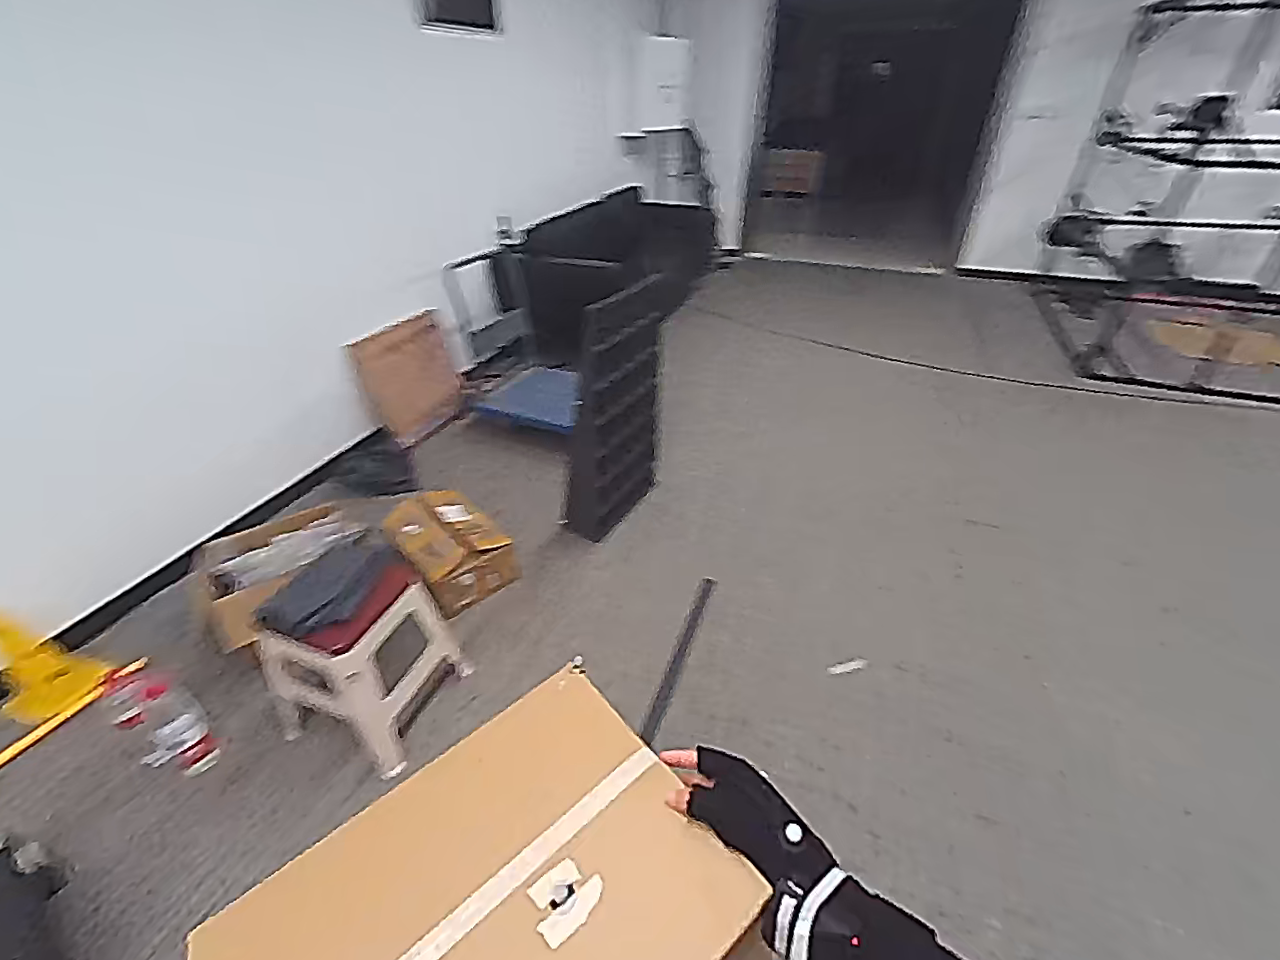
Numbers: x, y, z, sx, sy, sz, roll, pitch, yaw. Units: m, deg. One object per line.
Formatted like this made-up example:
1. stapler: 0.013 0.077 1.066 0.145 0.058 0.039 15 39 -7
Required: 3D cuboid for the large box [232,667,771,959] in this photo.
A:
1. large box: -0.111 0.497 0.562 0.408 0.320 0.320 -29 39 -27
